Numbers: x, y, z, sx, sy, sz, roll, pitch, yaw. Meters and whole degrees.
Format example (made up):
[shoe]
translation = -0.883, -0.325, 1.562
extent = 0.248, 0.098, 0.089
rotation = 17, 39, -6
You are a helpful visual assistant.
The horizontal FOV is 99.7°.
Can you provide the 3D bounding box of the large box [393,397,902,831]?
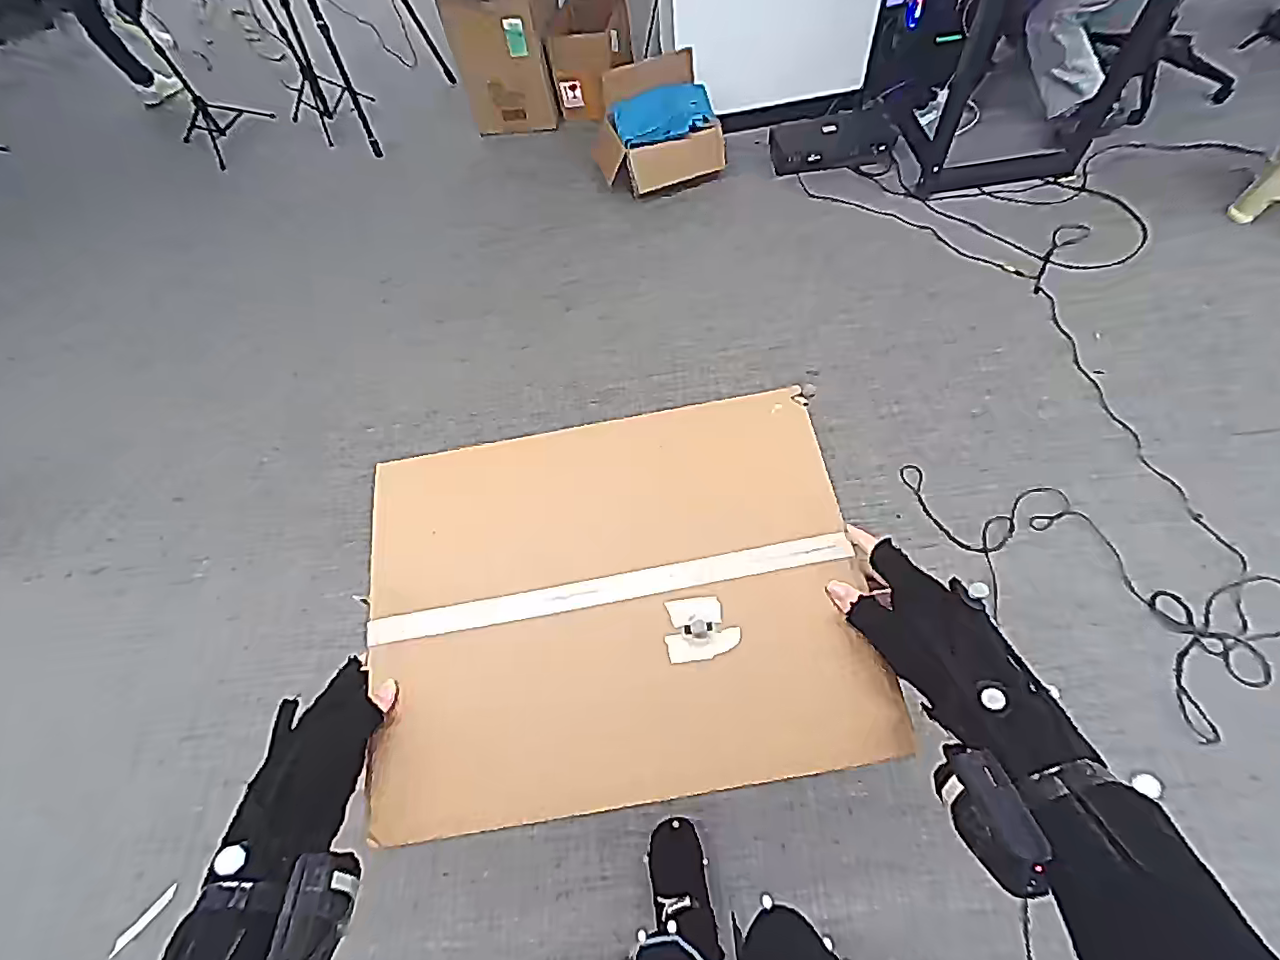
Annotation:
[large box]
translation = -0.008, 0.152, 0.605
extent = 0.408, 0.320, 0.320
rotation = -10, 67, 1
